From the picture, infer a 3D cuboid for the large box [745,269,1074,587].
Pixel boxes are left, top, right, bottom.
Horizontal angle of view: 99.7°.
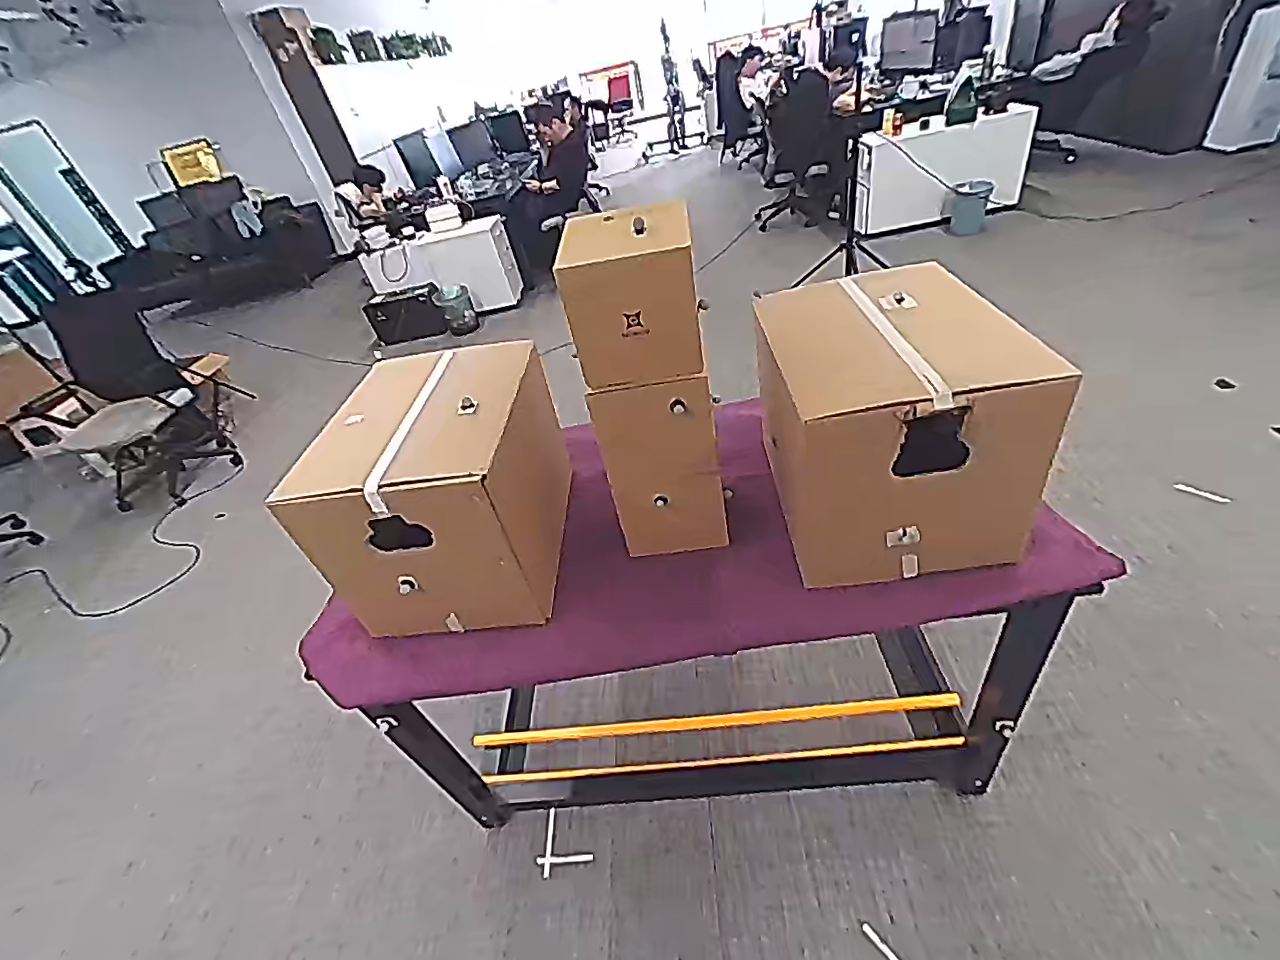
[{"bbox_3d":[0.367,-0.095,0.863,0.320,0.320,0.408,-9,37,6],"label":"large box"}]
